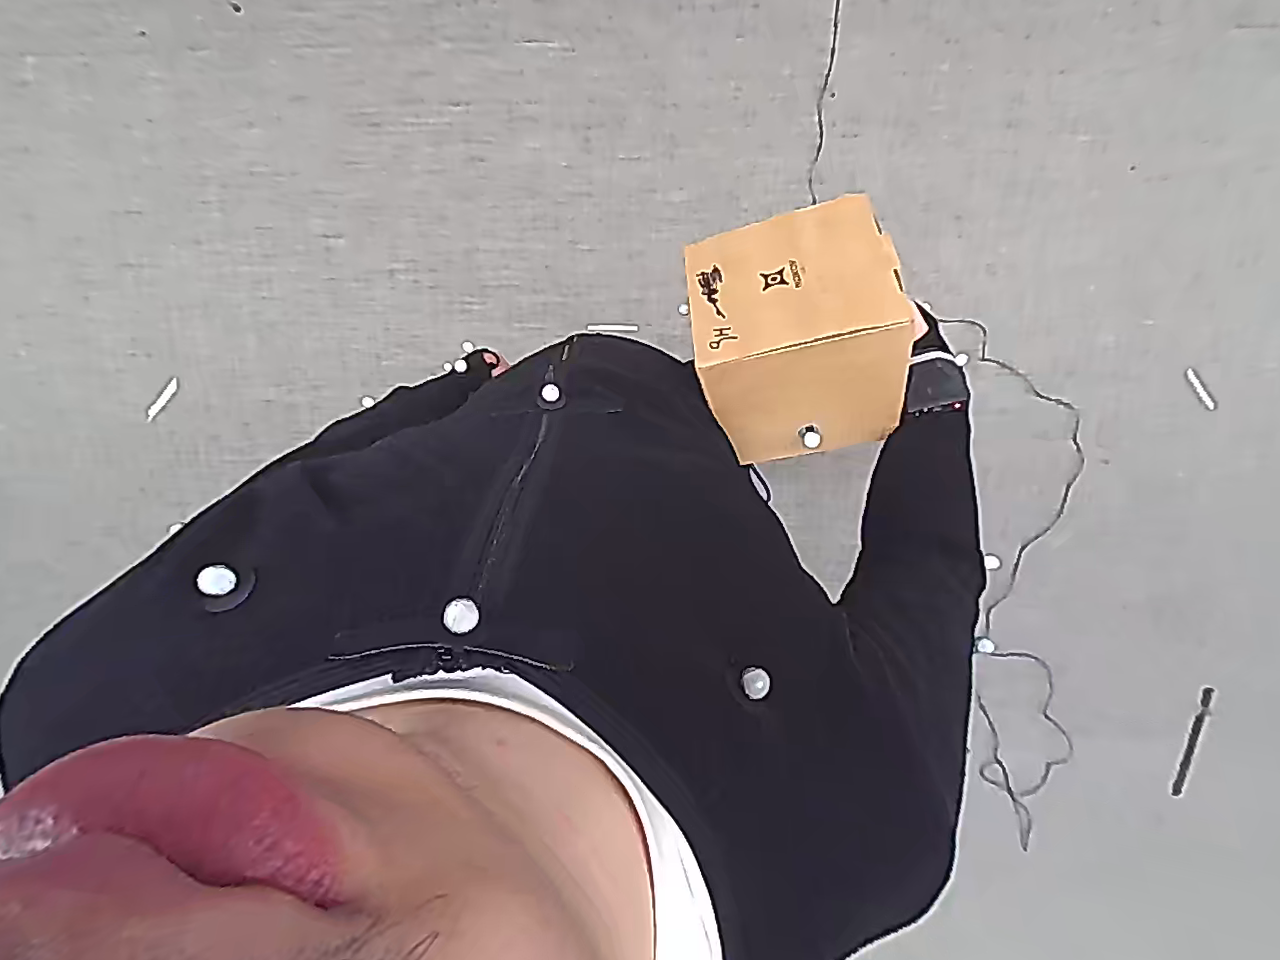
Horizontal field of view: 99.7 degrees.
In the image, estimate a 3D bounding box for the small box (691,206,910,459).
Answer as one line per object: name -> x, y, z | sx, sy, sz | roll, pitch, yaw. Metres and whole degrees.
small box -> 0.159, -0.142, 0.565 | 0.179, 0.168, 0.176 | -10, 147, 14
